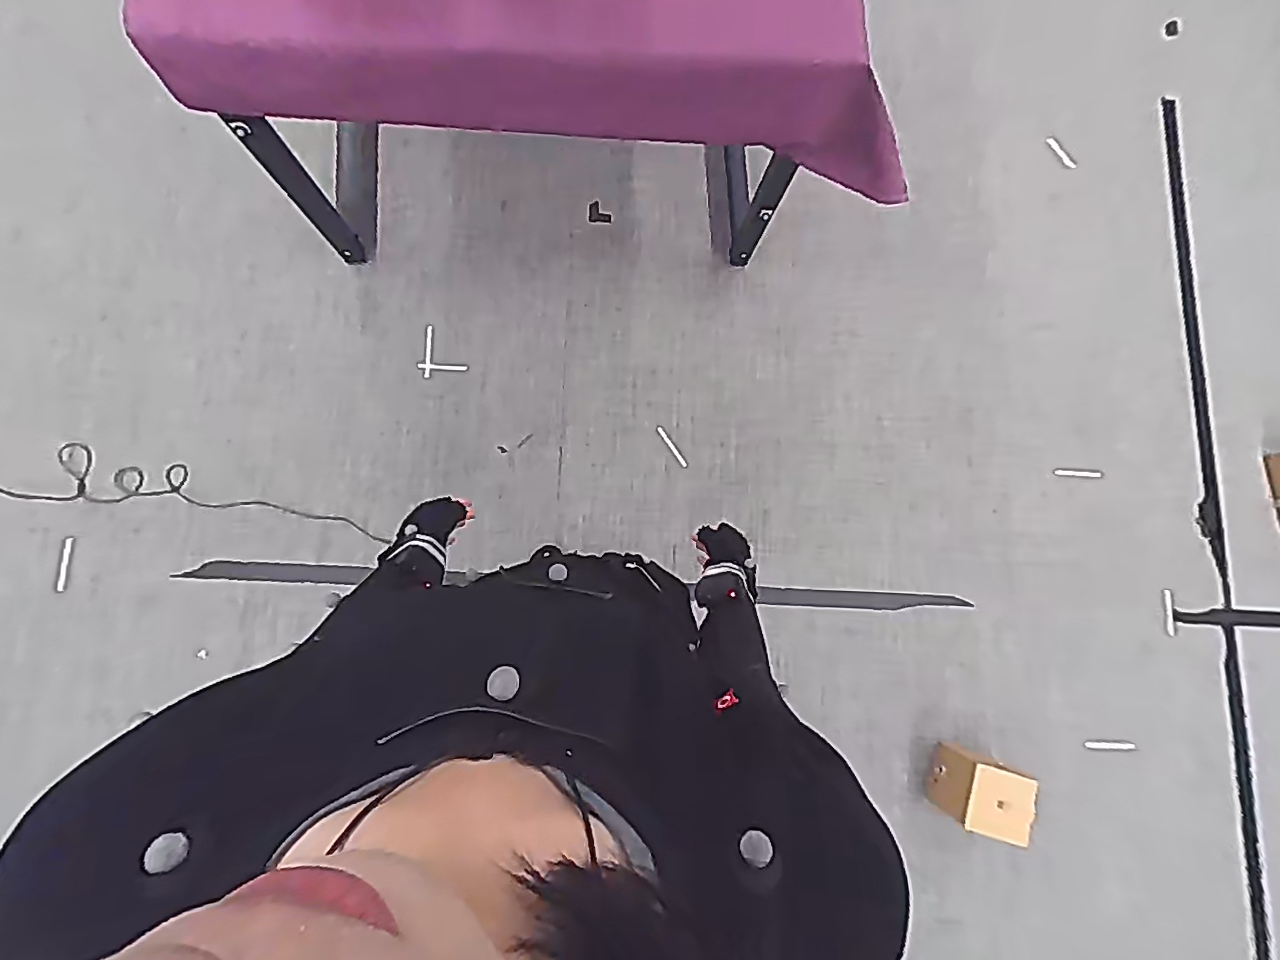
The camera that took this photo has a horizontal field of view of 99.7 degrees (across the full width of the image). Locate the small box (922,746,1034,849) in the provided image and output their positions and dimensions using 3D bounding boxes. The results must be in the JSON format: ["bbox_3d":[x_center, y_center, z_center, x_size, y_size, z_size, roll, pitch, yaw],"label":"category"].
[{"bbox_3d":[0.902,0.842,1.452,0.179,0.176,0.168,18,80,-2],"label":"small box"}]
